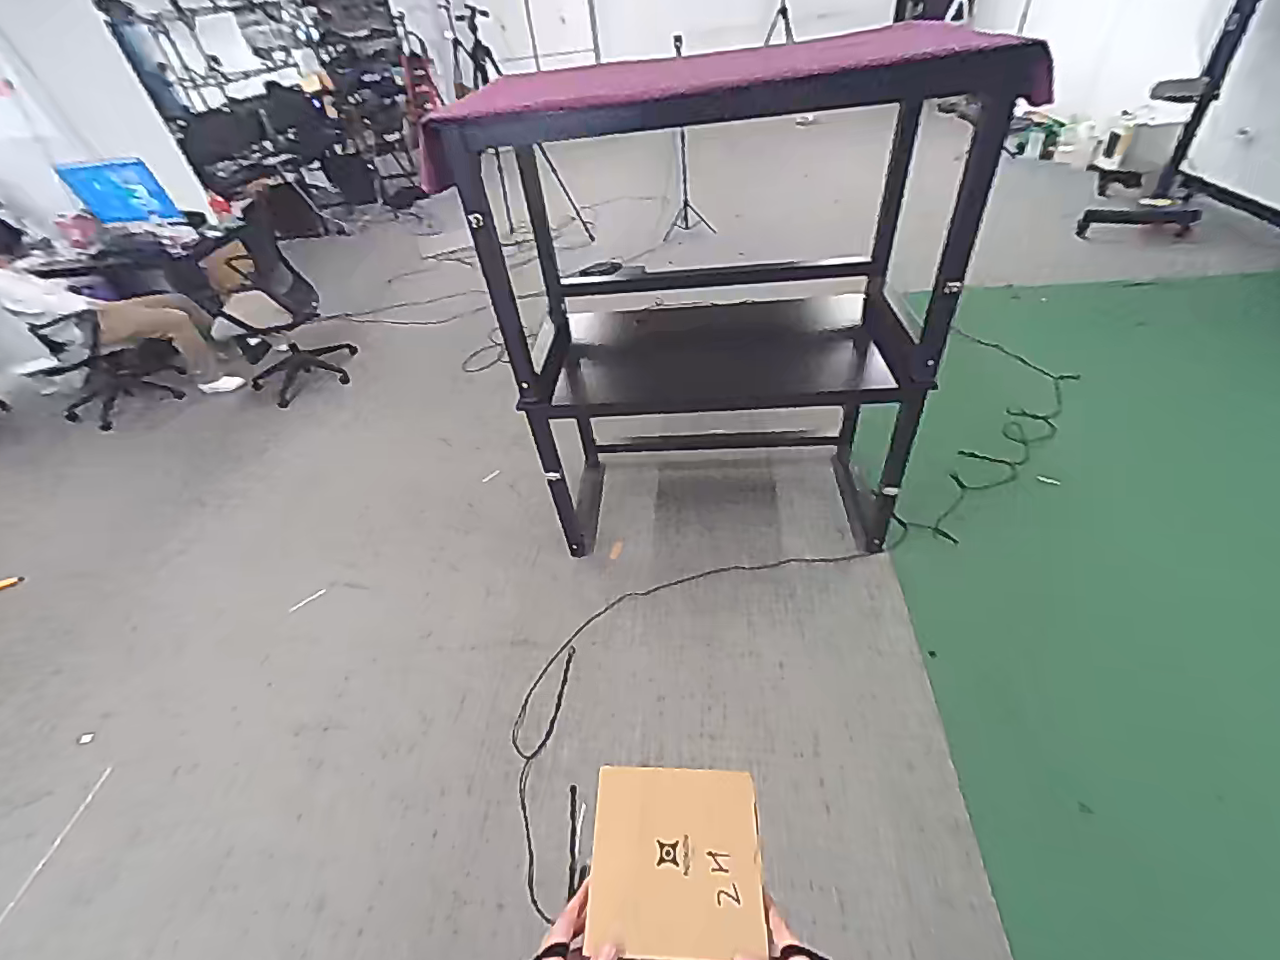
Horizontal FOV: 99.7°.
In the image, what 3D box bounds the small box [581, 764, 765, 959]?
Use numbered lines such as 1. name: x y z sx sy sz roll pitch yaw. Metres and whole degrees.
1. small box: 0.038 0.441 0.614 0.179 0.176 0.168 1 45 3
